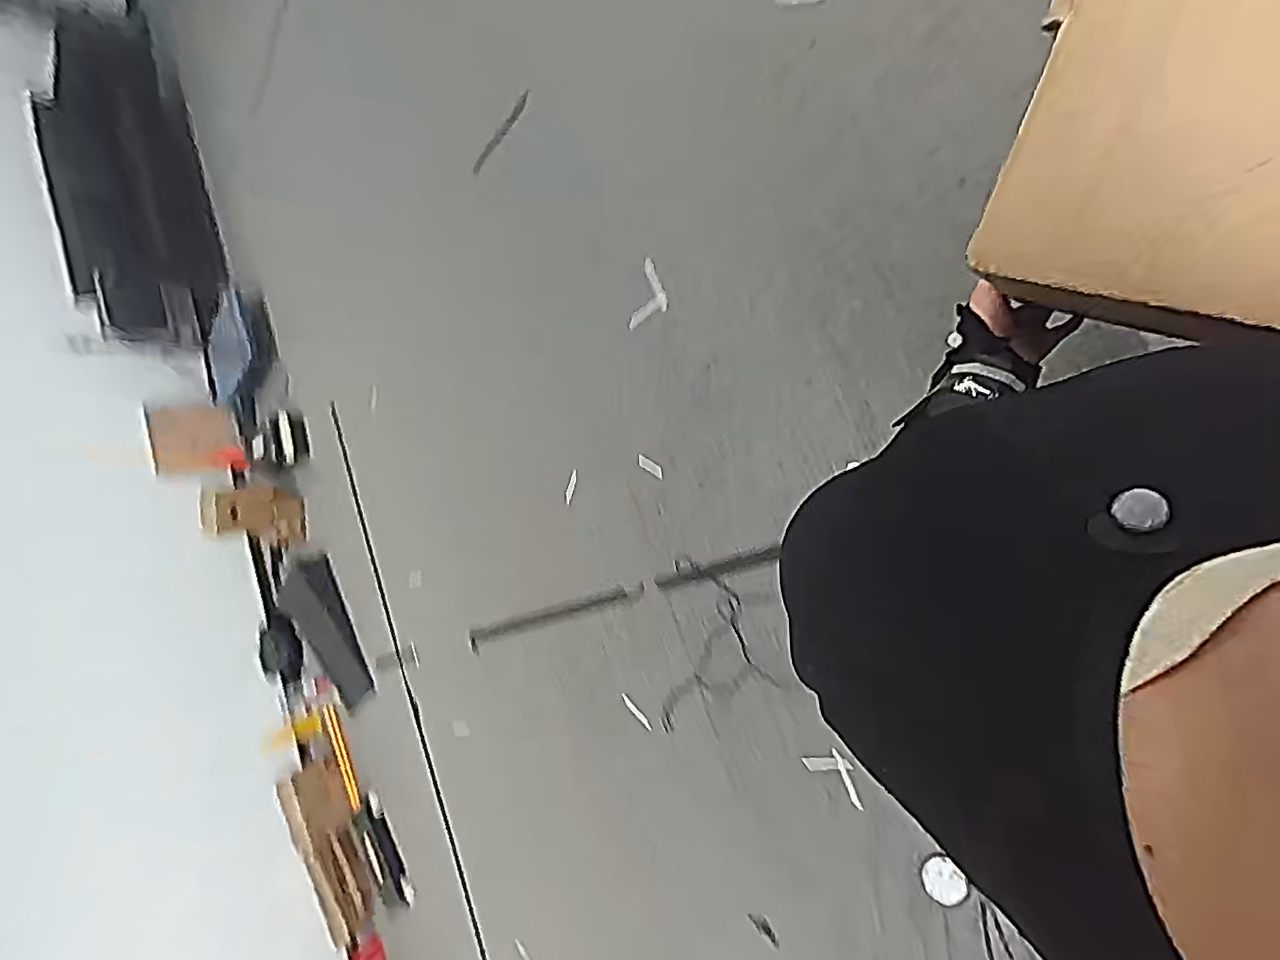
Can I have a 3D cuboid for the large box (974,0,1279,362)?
[{"bbox_3d":[0.478,-0.217,0.299,0.408,0.320,0.320,26,117,32],"label":"large box"}]
